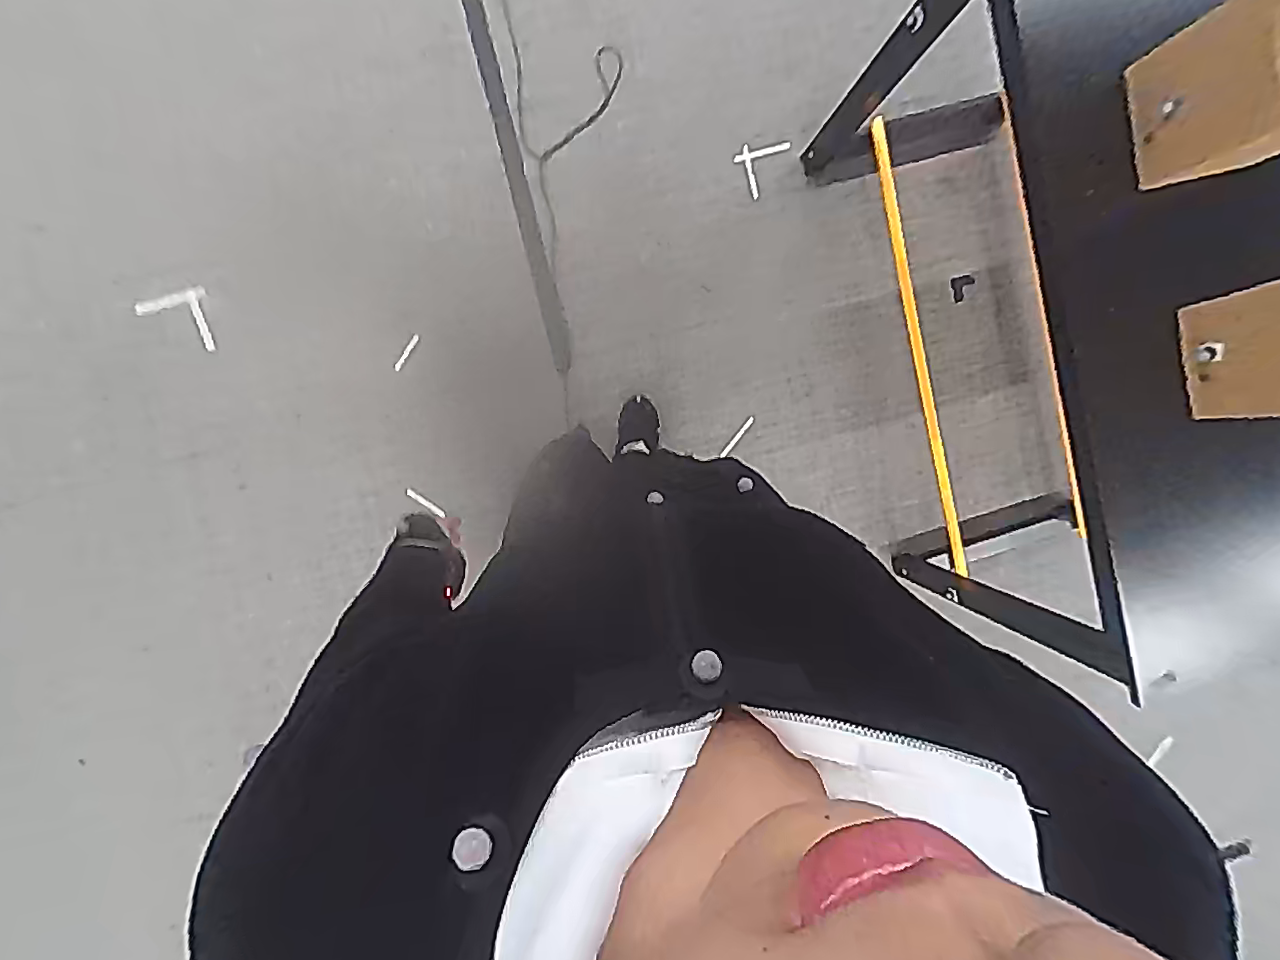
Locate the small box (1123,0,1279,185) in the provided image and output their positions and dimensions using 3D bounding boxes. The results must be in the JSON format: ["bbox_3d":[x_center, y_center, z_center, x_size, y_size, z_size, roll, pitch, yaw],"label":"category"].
[{"bbox_3d":[0.774,-0.505,0.682,0.179,0.176,0.168,-14,96,-3],"label":"small box"}]

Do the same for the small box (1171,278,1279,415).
[{"bbox_3d":[0.885,-0.189,0.725,0.179,0.176,0.168,-17,95,-2],"label":"small box"}]
